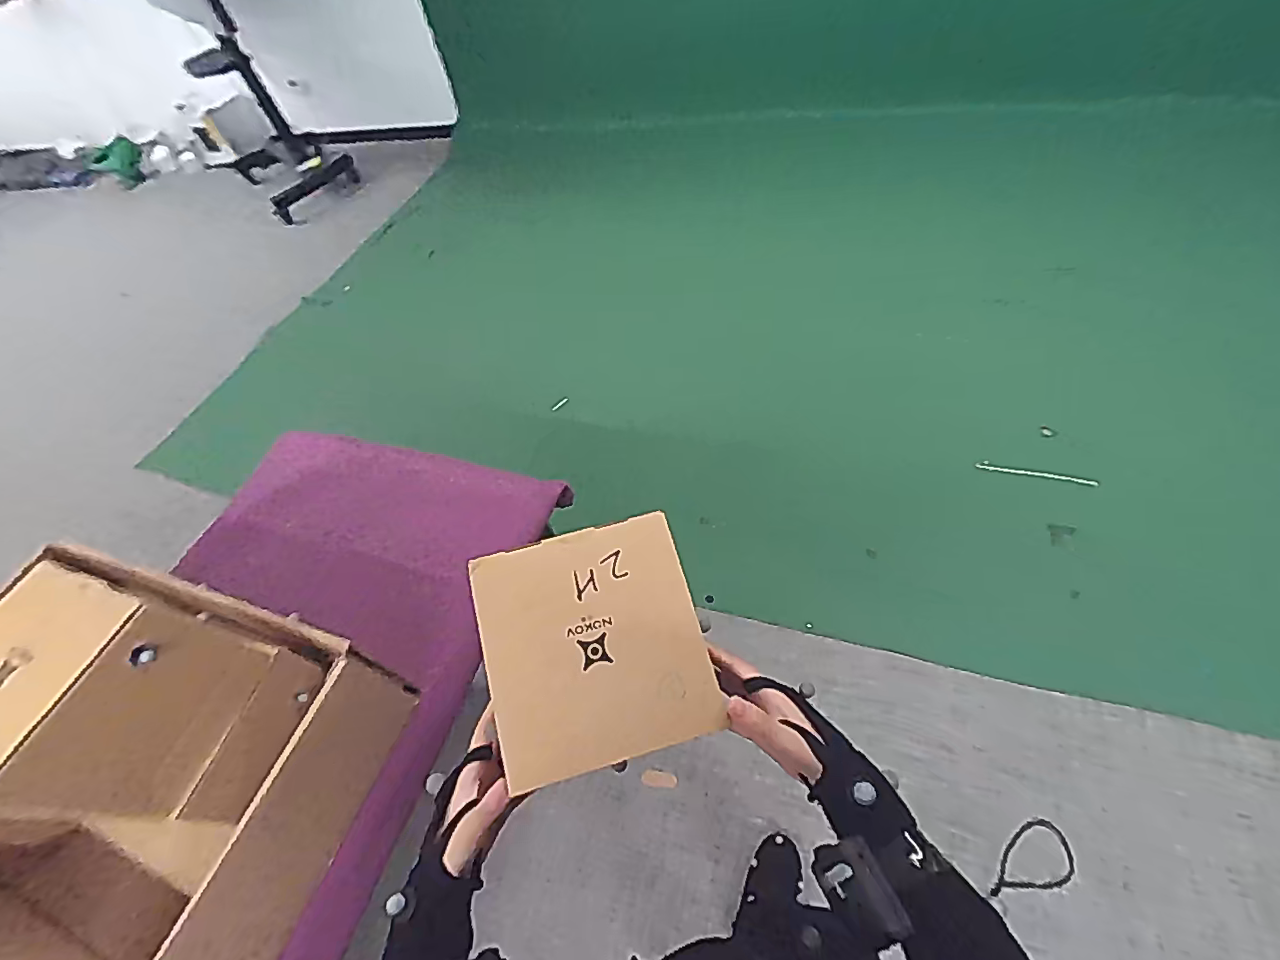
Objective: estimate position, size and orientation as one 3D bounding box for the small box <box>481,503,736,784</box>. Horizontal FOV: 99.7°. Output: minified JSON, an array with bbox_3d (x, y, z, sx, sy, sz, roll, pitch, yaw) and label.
[{"bbox_3d":[-0.030,0.143,0.485,0.168,0.176,0.179,-14,69,-8],"label":"small box"}]

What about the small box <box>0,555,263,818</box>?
[{"bbox_3d":[-0.526,0.202,0.524,0.168,0.176,0.179,11,57,19],"label":"small box"}]
